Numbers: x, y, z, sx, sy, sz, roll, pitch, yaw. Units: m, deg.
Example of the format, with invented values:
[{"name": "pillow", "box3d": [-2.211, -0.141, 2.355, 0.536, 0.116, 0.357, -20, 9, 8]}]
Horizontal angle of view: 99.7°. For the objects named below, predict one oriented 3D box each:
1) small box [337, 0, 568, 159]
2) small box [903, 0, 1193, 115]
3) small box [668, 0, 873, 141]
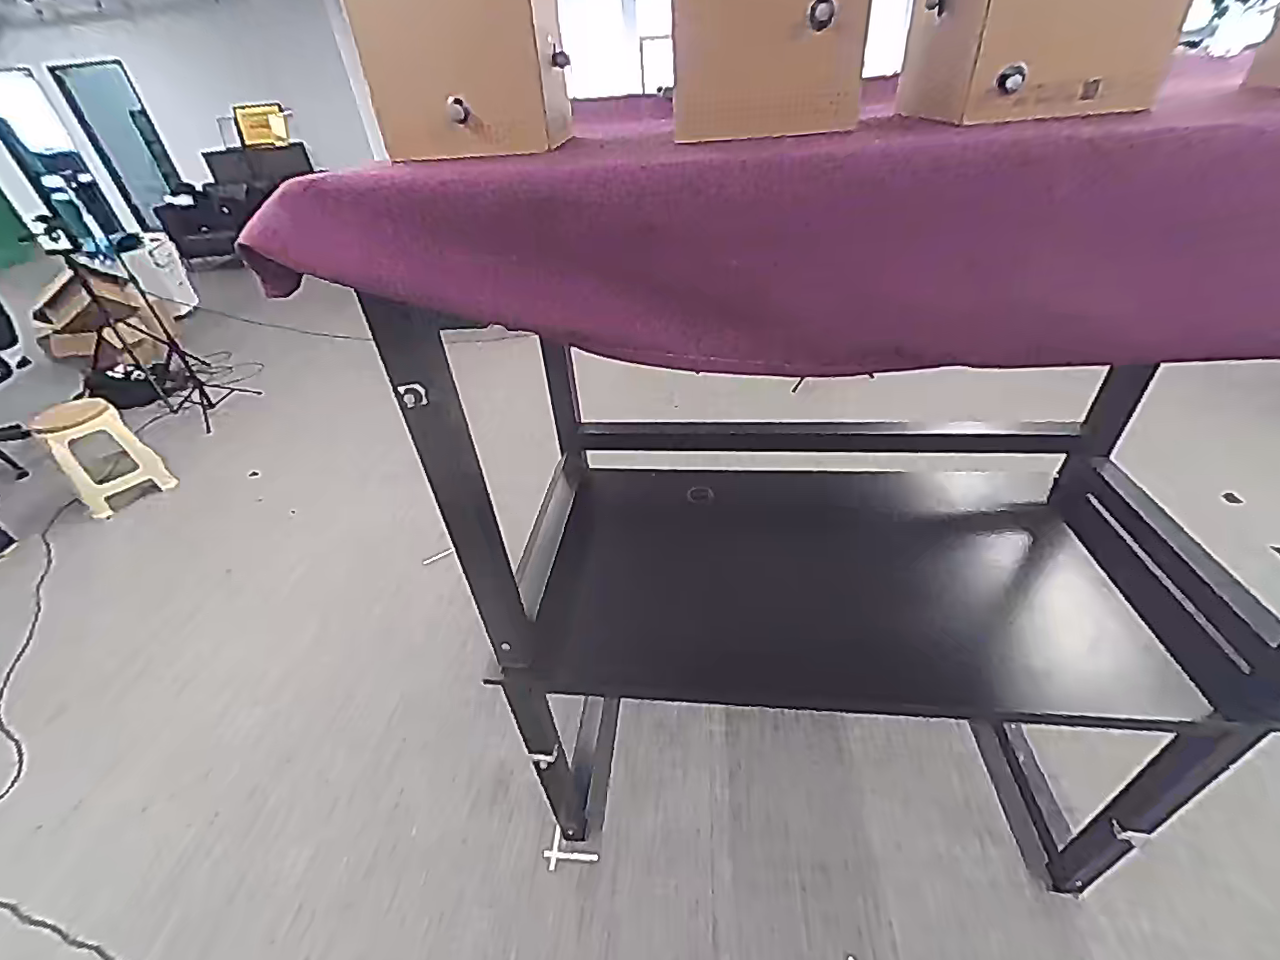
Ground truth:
[{"name": "small box", "box3d": [-0.178, -0.444, 0.560, 0.179, 0.176, 0.168, -1, 37, 4]}, {"name": "small box", "box3d": [0.362, -0.436, 0.485, 0.168, 0.176, 0.179, -3, 36, 3]}, {"name": "small box", "box3d": [0.121, -0.443, 0.526, 0.179, 0.176, 0.168, 0, 37, 8]}]
